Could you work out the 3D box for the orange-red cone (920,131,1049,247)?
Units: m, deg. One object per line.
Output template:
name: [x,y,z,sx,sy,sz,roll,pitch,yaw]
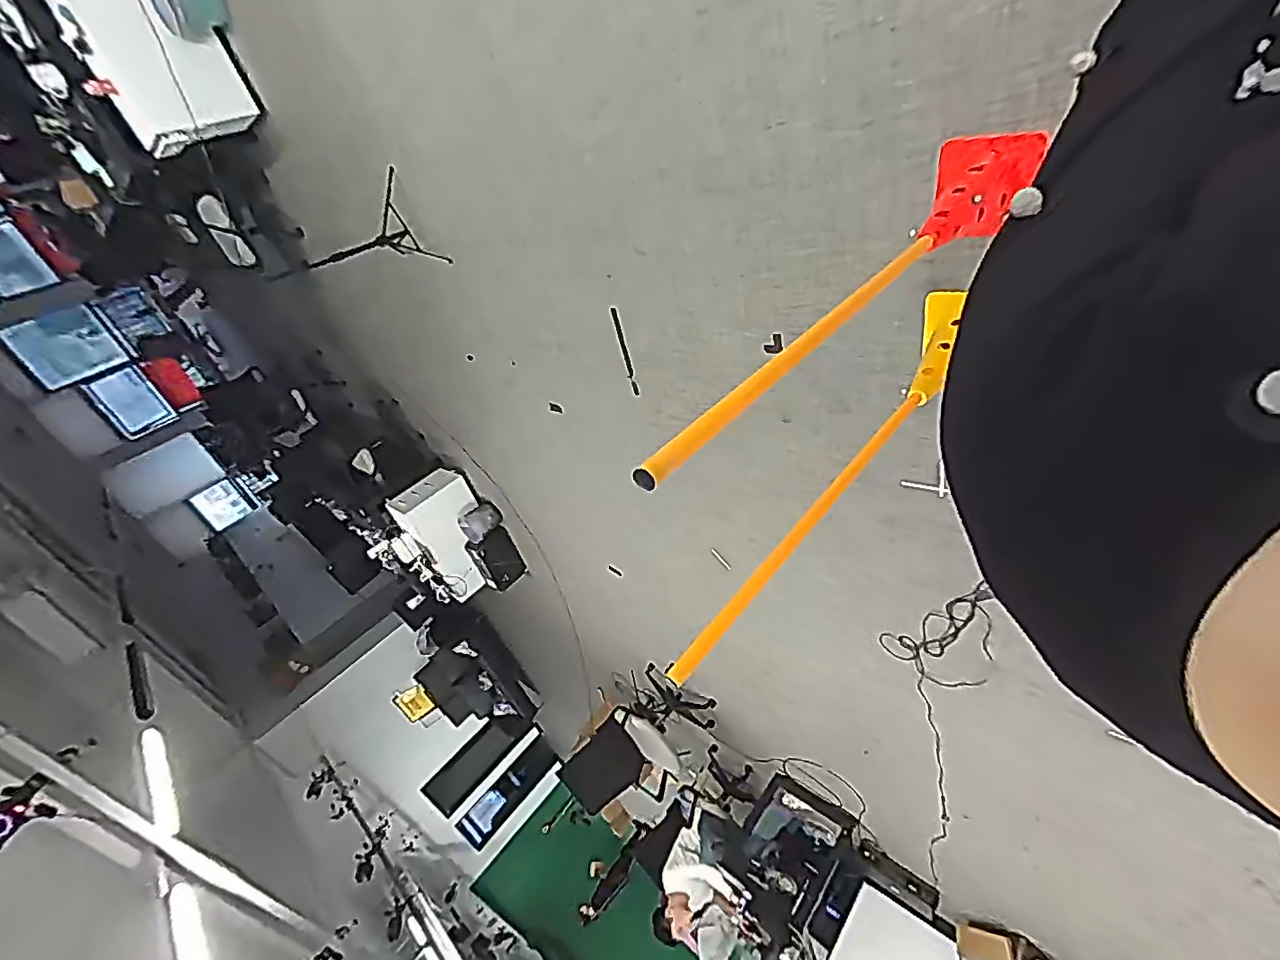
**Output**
orange-red cone: [0.642,-0.544,1.082,0.198,0.360,0.199,21,138,36]
